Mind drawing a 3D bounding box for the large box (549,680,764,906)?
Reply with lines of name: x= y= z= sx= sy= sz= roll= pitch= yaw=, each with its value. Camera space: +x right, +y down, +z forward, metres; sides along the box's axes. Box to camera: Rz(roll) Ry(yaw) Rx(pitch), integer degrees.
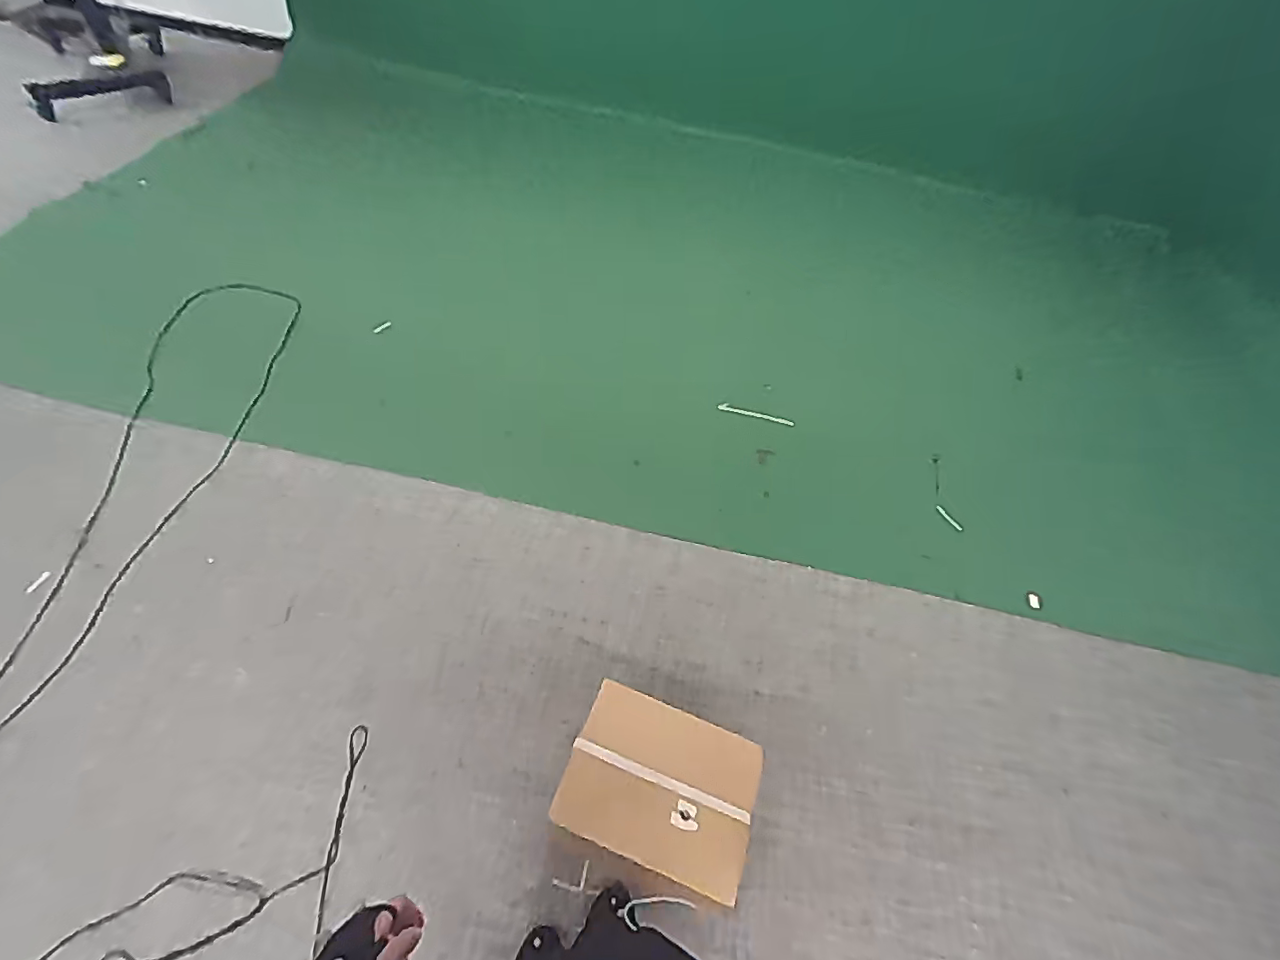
large box: x=0.029 y=0.740 z=1.282 sx=0.408 sy=0.320 sz=0.320 roll=21 pitch=51 yaw=8
